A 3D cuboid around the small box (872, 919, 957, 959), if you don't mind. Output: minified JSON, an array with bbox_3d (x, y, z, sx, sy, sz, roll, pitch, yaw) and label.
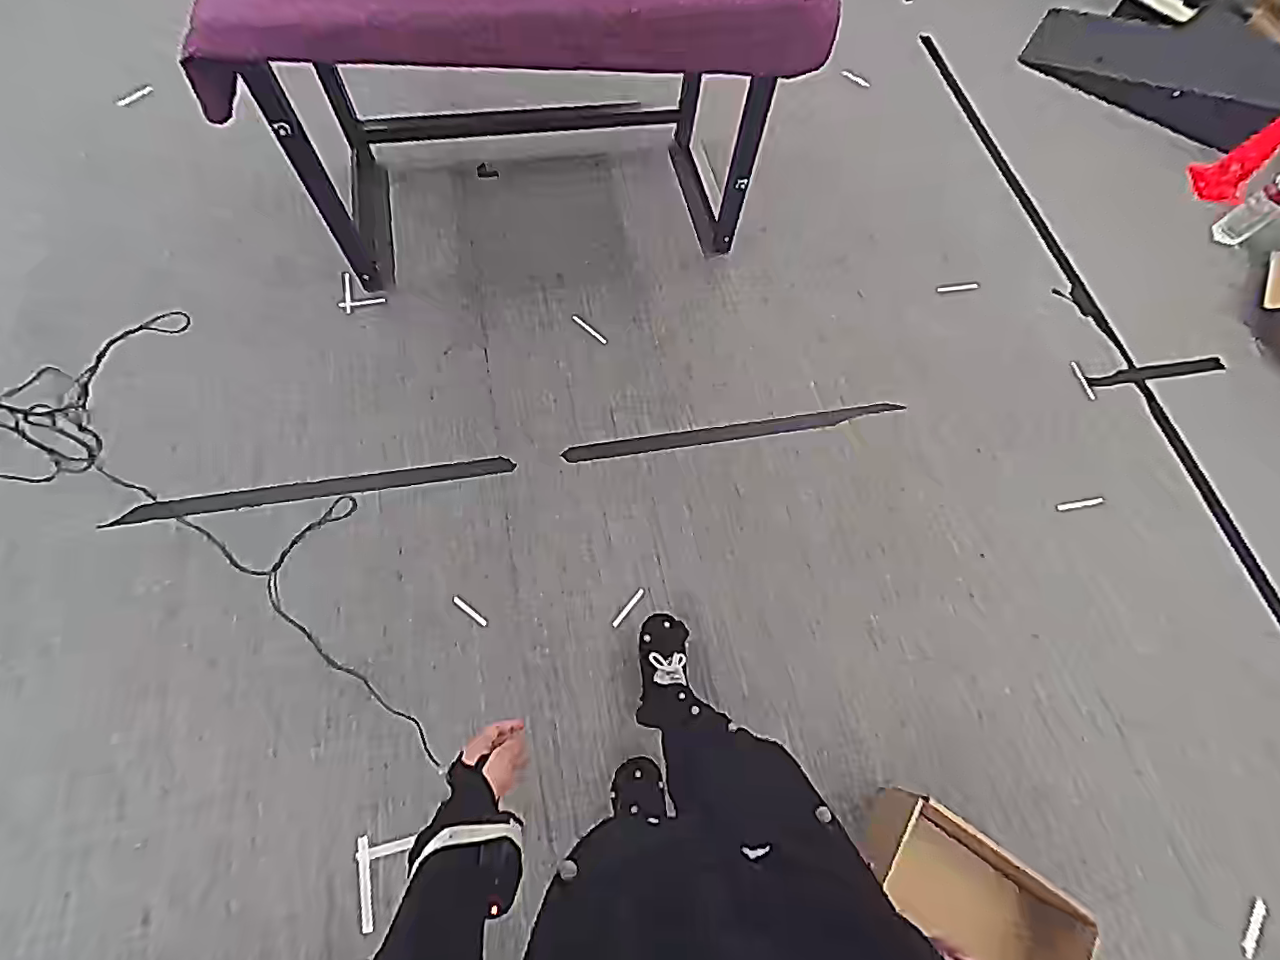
[{"bbox_3d":[0.565,0.998,1.032,0.179,0.176,0.168,37,70,10],"label":"small box"}]
